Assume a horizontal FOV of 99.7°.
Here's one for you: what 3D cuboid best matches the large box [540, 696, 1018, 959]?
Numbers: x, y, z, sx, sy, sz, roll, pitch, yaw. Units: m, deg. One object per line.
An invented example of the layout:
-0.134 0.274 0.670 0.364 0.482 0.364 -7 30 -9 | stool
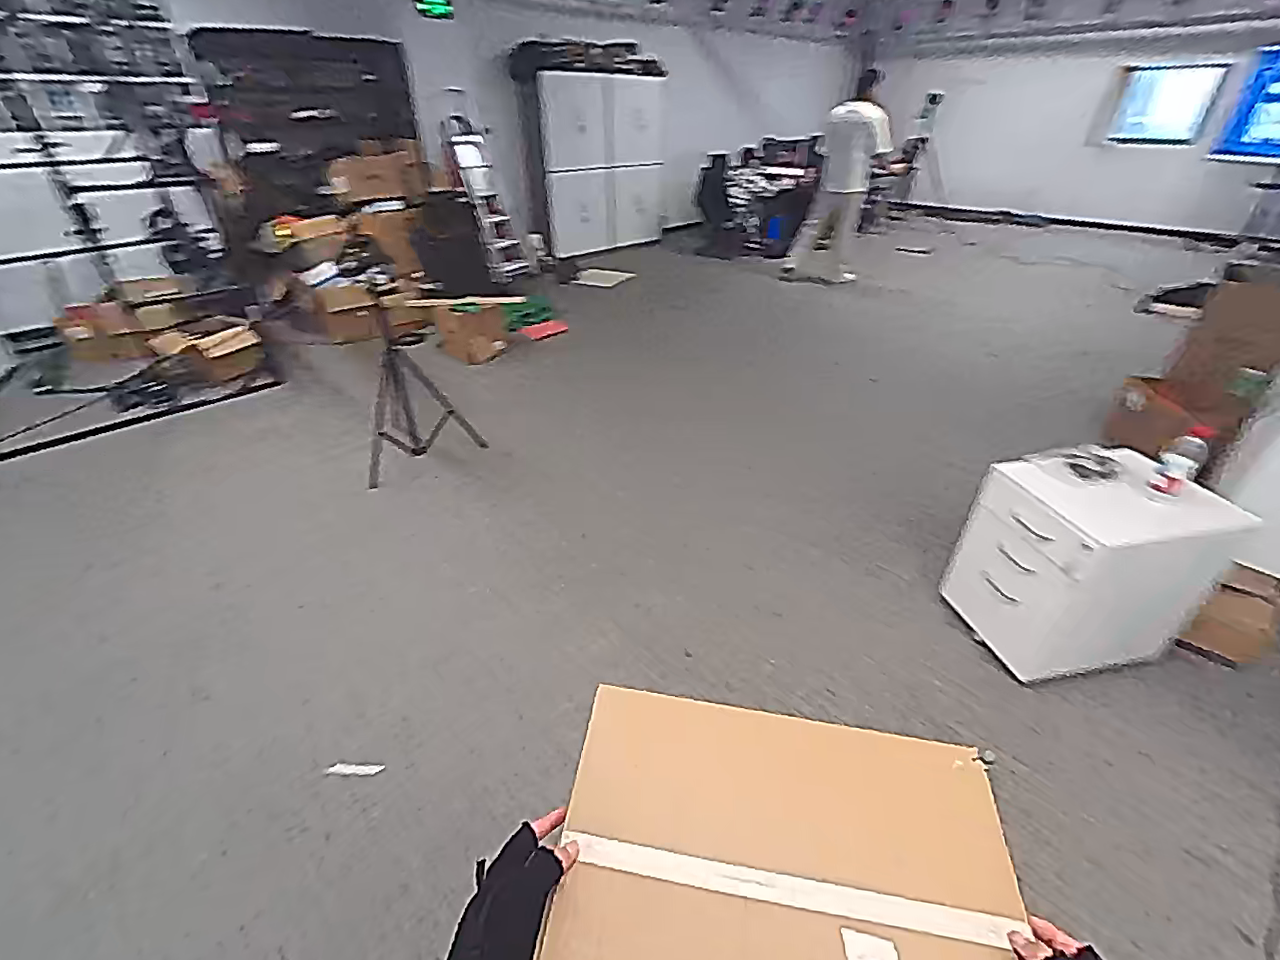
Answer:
0.119 0.476 0.585 0.408 0.320 0.320 7 43 6 | large box
